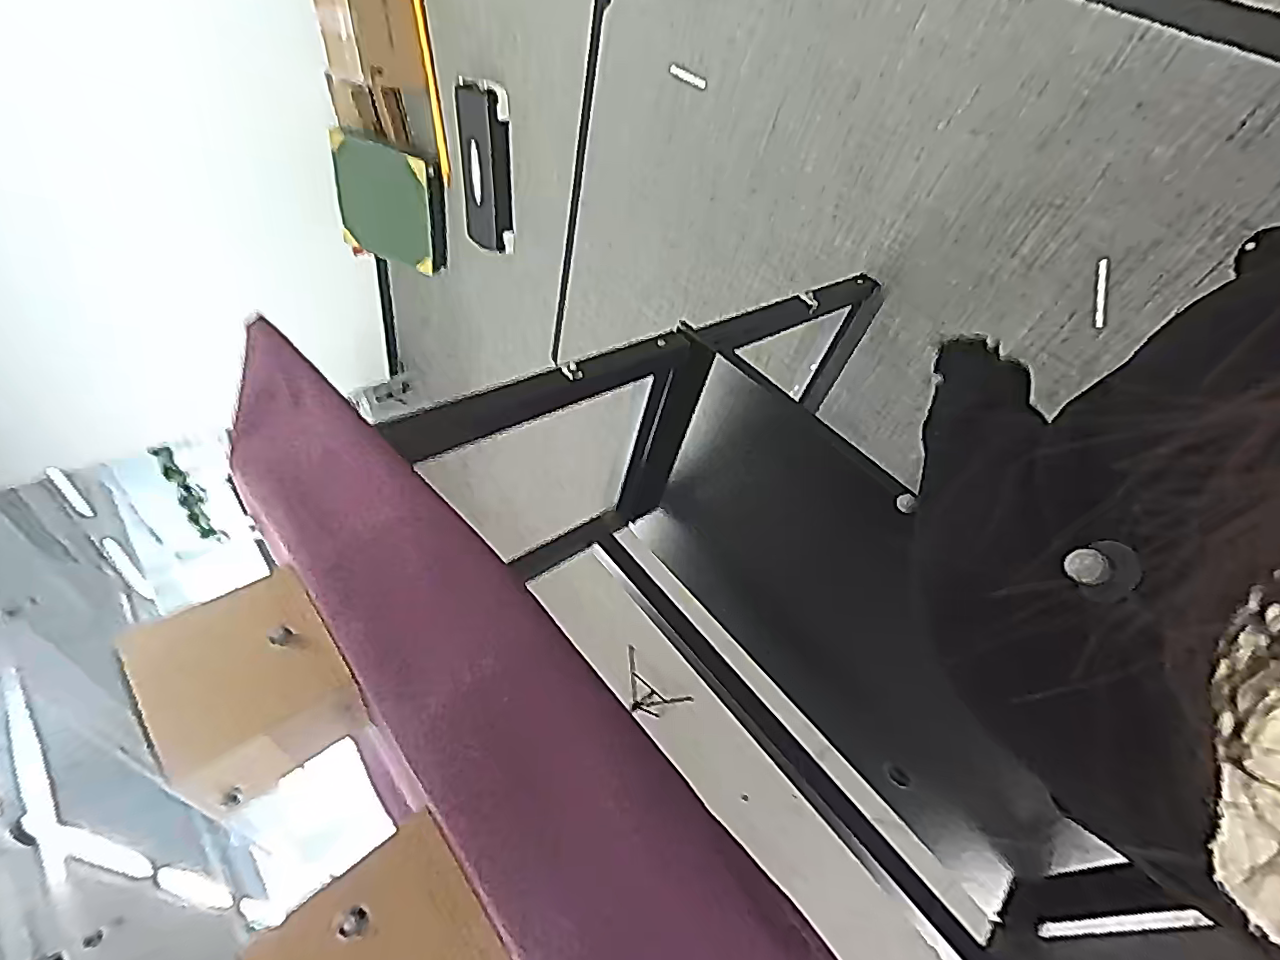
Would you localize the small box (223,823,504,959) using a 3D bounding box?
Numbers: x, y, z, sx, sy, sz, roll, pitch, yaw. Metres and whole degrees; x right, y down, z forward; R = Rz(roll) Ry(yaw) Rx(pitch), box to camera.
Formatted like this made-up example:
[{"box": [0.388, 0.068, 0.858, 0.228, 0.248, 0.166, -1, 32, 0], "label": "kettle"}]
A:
[{"box": [-0.243, 0.458, 0.508, 0.179, 0.176, 0.168, 46, 142, 22], "label": "small box"}]

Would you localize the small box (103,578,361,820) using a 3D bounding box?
[{"box": [-0.441, 0.234, 0.610, 0.179, 0.176, 0.168, 47, 143, 22], "label": "small box"}]
